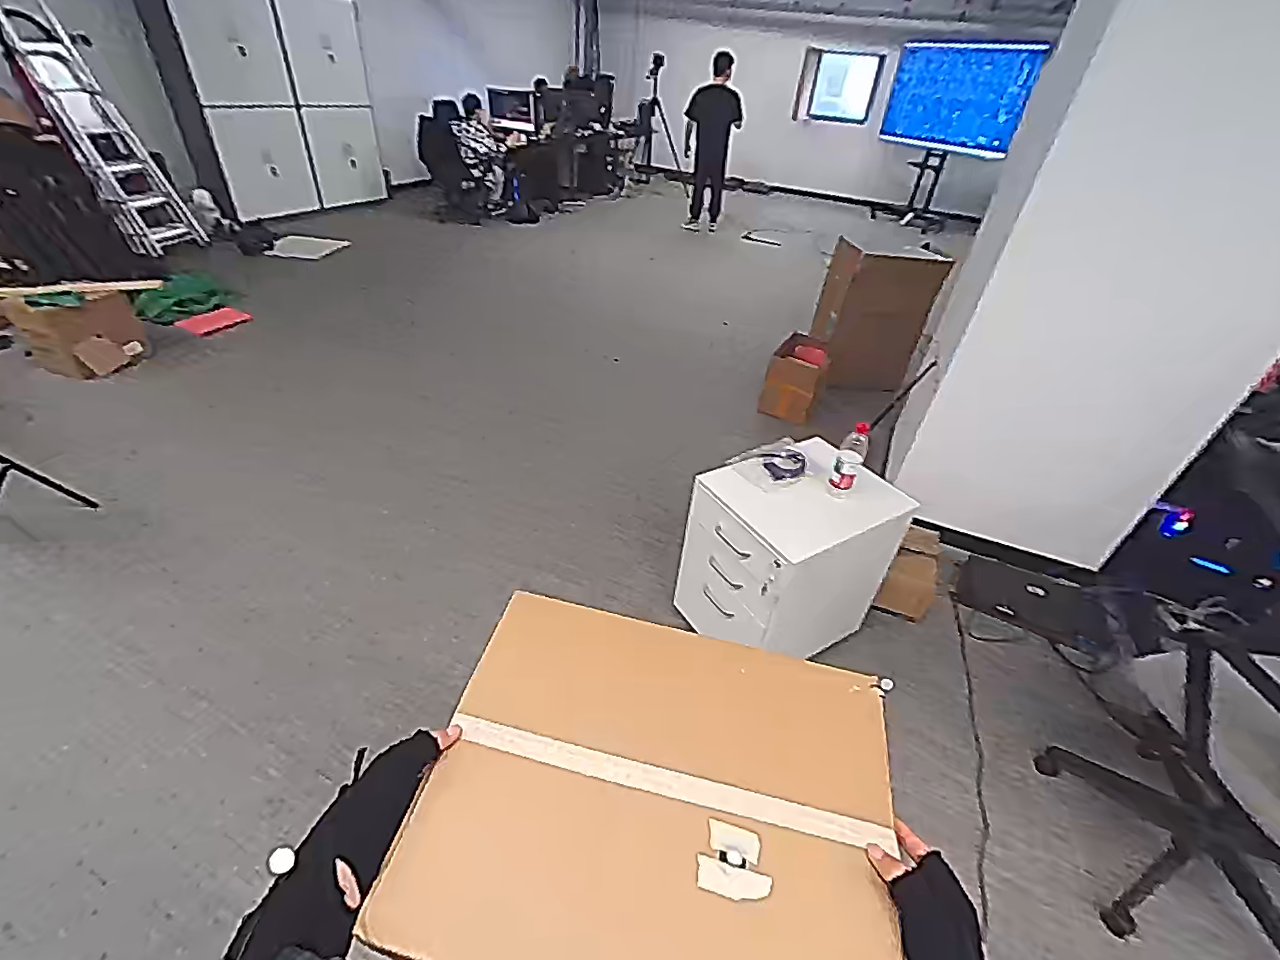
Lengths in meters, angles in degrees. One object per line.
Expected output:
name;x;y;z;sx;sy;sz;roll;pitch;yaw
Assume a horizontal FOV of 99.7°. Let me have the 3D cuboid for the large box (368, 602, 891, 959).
large box;0.003;0.385;0.593;0.408;0.320;0.320;12;44;6
